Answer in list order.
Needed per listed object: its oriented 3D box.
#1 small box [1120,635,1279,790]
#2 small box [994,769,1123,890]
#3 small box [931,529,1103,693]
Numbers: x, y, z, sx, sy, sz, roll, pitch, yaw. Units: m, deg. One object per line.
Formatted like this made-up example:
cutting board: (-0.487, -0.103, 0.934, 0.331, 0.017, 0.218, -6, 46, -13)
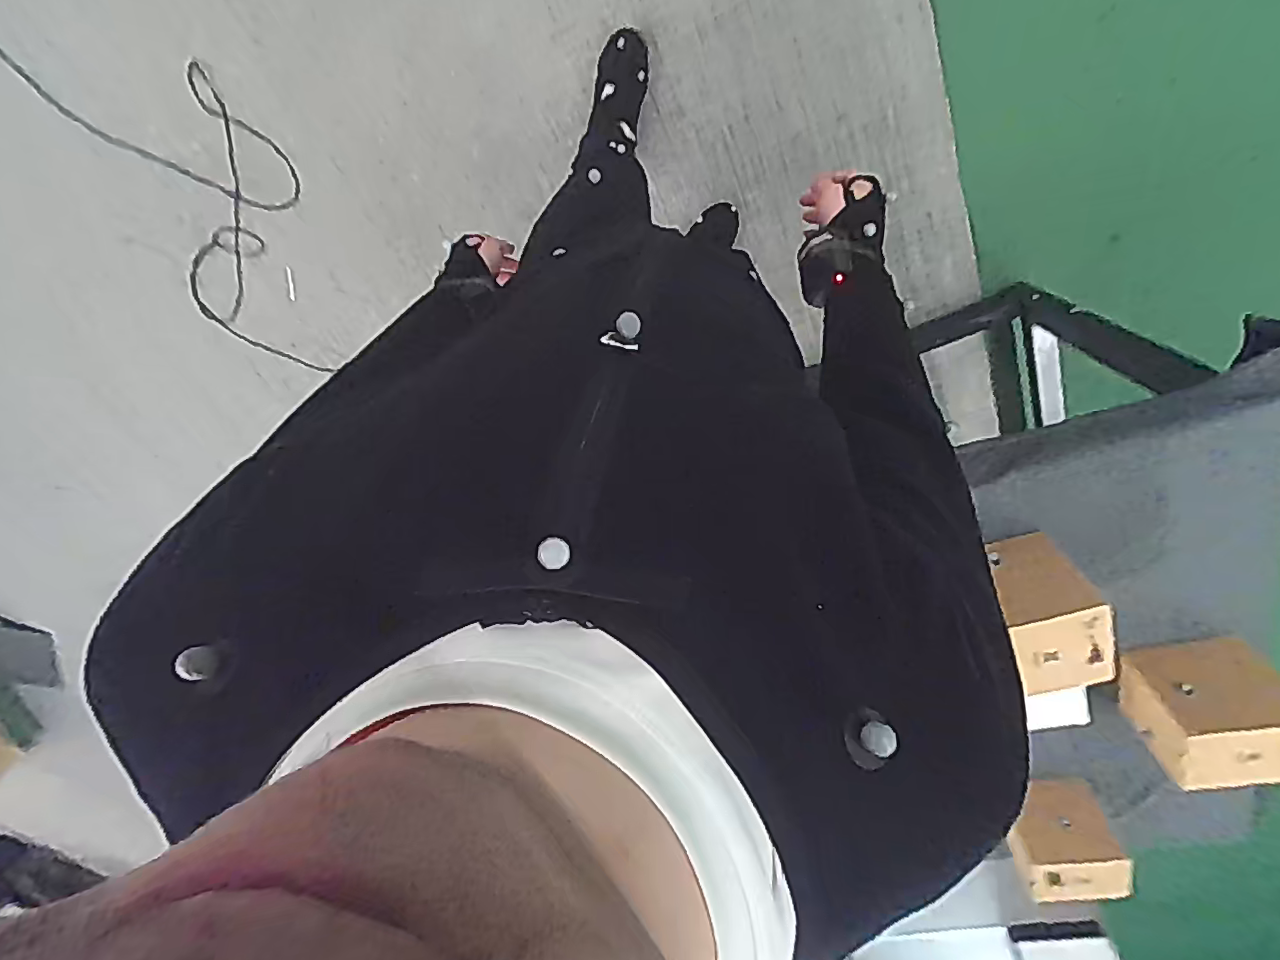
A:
small box: (0.968, 0.394, 0.924, 0.179, 0.176, 0.168, -19, 120, 17)
small box: (0.906, 0.766, 1.189, 0.179, 0.176, 0.168, -17, 120, 16)
small box: (0.587, 0.206, 0.863, 0.179, 0.176, 0.168, -19, 119, 18)
